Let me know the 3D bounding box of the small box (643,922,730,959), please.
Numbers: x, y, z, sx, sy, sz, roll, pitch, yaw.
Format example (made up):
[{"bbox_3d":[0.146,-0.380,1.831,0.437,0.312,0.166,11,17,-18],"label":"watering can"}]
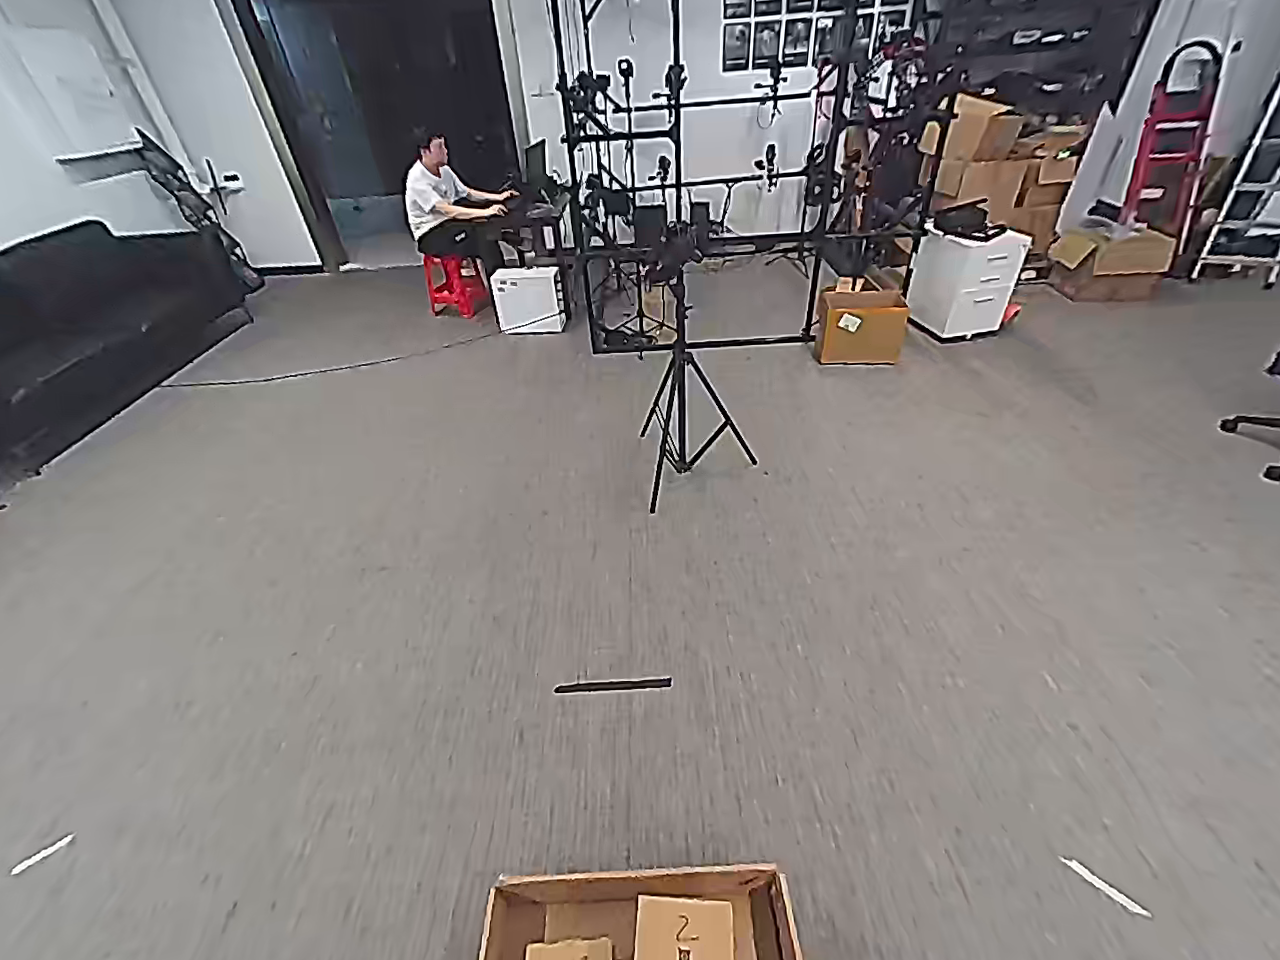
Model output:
[{"bbox_3d":[0.089,0.978,1.028,0.168,0.176,0.179,-2,39,6],"label":"small box"}]

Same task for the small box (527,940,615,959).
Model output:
[{"bbox_3d":[-0.126,0.999,1.013,0.168,0.176,0.179,-3,38,-2],"label":"small box"}]
